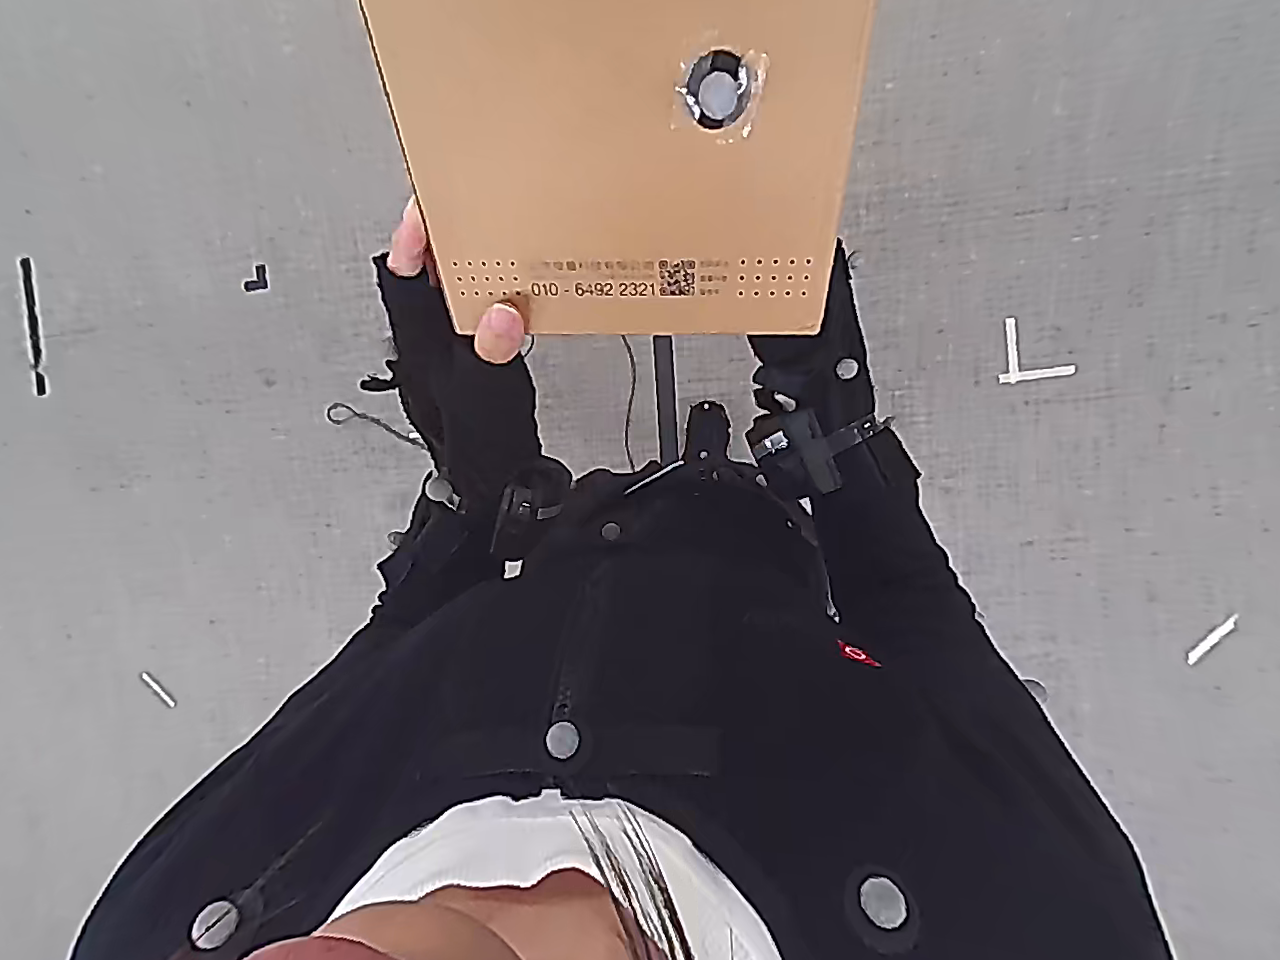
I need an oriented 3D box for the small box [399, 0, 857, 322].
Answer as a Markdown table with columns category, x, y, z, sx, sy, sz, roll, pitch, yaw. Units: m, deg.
| category | x | y | z | sx | sy | sz | roll | pitch | yaw |
| --- | --- | --- | --- | --- | --- | --- | --- | --- | --- |
| small box | 0.006 | -0.190 | 0.272 | 0.168 | 0.179 | 0.176 | 2 | 131 | 7 |
